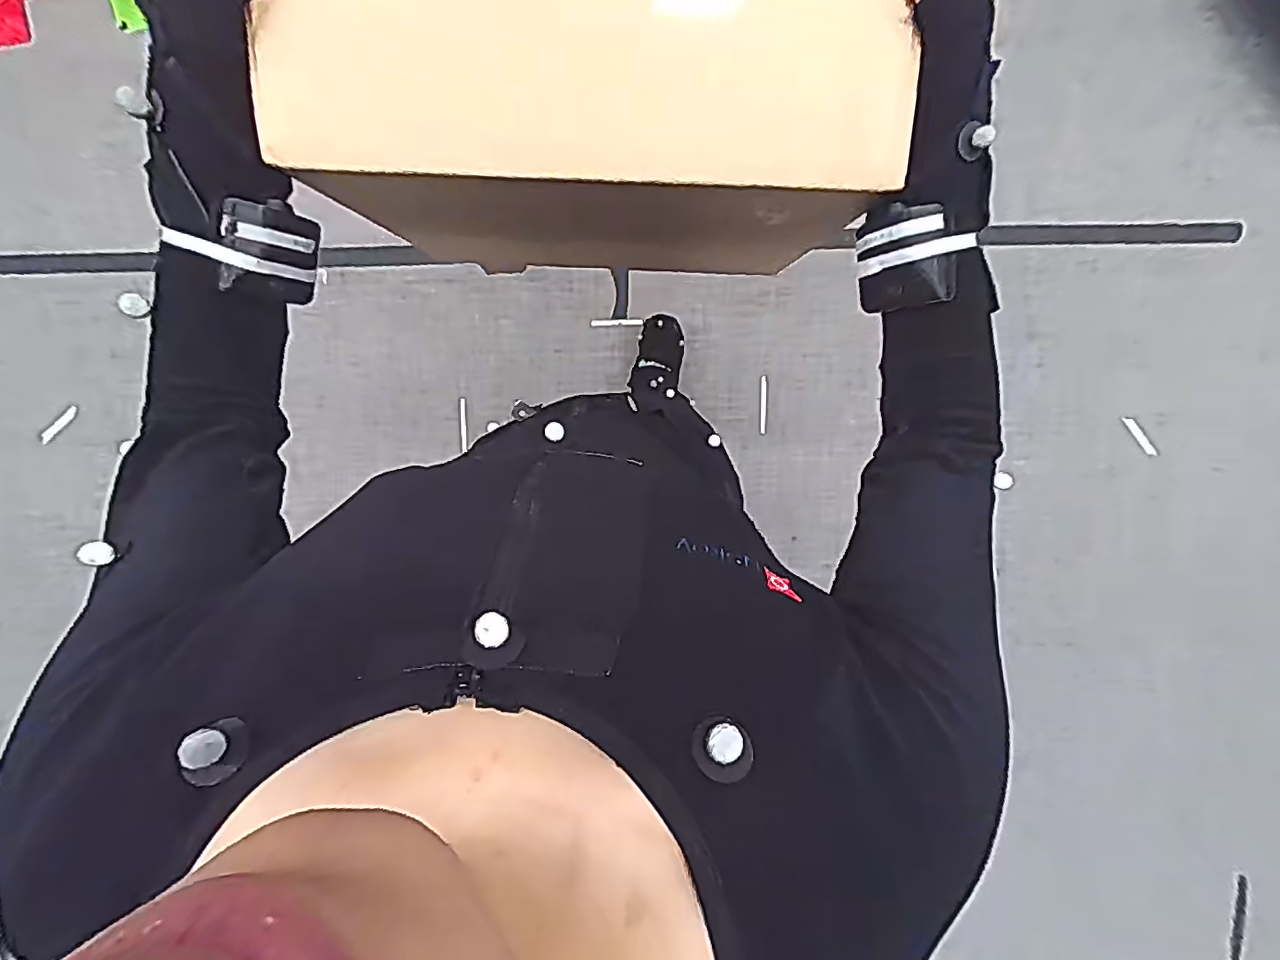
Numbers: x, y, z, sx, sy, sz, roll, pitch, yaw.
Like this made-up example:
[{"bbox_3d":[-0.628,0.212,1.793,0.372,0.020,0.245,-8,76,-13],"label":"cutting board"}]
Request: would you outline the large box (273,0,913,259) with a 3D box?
[{"bbox_3d":[-0.029,-0.387,0.469,0.408,0.320,0.320,1,102,-1],"label":"large box"}]
